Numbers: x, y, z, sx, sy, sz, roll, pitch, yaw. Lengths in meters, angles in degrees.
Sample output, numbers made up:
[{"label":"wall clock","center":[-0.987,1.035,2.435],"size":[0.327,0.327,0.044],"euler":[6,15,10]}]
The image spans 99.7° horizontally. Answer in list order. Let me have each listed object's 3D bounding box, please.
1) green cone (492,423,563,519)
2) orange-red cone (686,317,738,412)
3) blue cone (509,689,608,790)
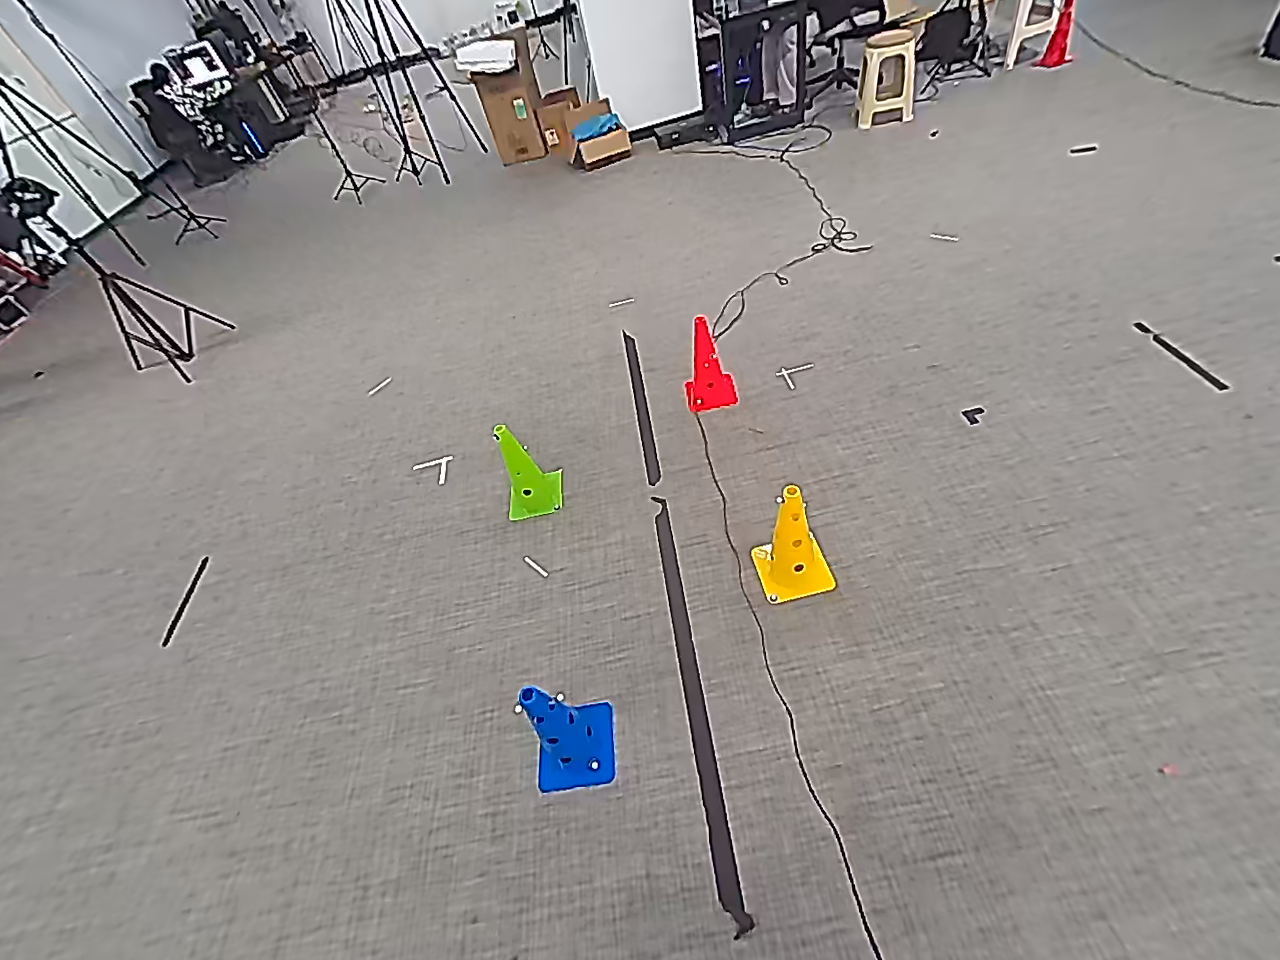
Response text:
[{"label":"green cone","center":[-0.425,-0.062,1.904],"size":[0.202,0.368,0.200],"euler":[-14,47,5]},{"label":"orange-red cone","center":[0.258,-0.467,2.083],"size":[0.199,0.360,0.198],"euler":[-9,49,6]},{"label":"blue cone","center":[-0.211,0.580,1.282],"size":[0.192,0.380,0.193],"euler":[-11,47,8]}]
